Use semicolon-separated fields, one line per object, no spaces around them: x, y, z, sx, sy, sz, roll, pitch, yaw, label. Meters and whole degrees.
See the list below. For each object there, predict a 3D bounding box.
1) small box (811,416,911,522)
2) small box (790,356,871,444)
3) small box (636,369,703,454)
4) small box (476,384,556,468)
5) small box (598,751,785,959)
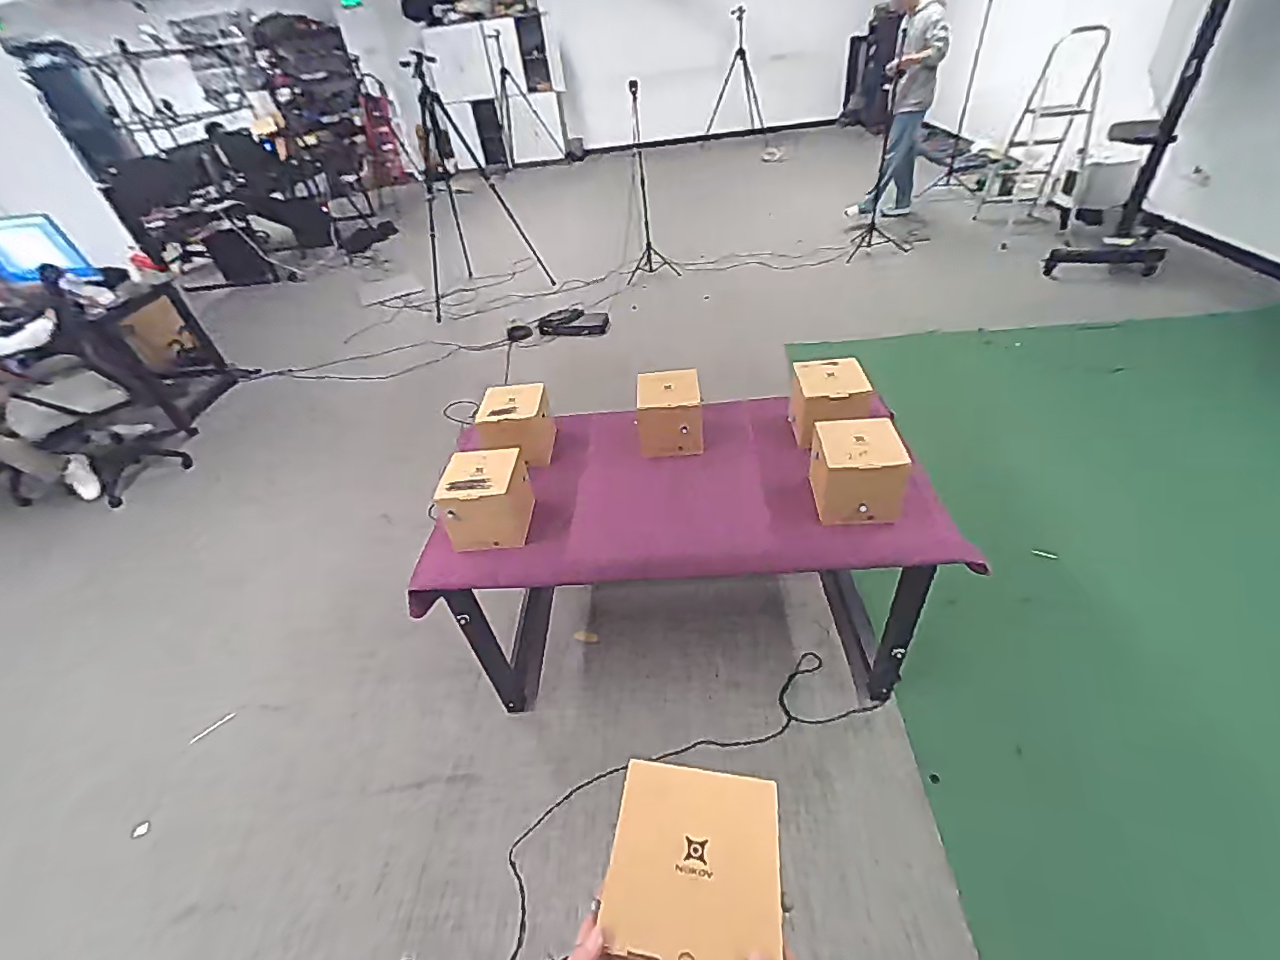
0.483;-0.024;1.214;0.168;0.176;0.179;-3;40;9;small box
0.495;-0.205;1.428;0.168;0.176;0.179;-4;41;6;small box
0.082;-0.181;1.479;0.168;0.176;0.179;-4;40;5;small box
-0.339;-0.146;1.513;0.168;0.176;0.179;-5;40;4;small box
0.057;0.429;0.575;0.168;0.176;0.179;4;34;9;small box
